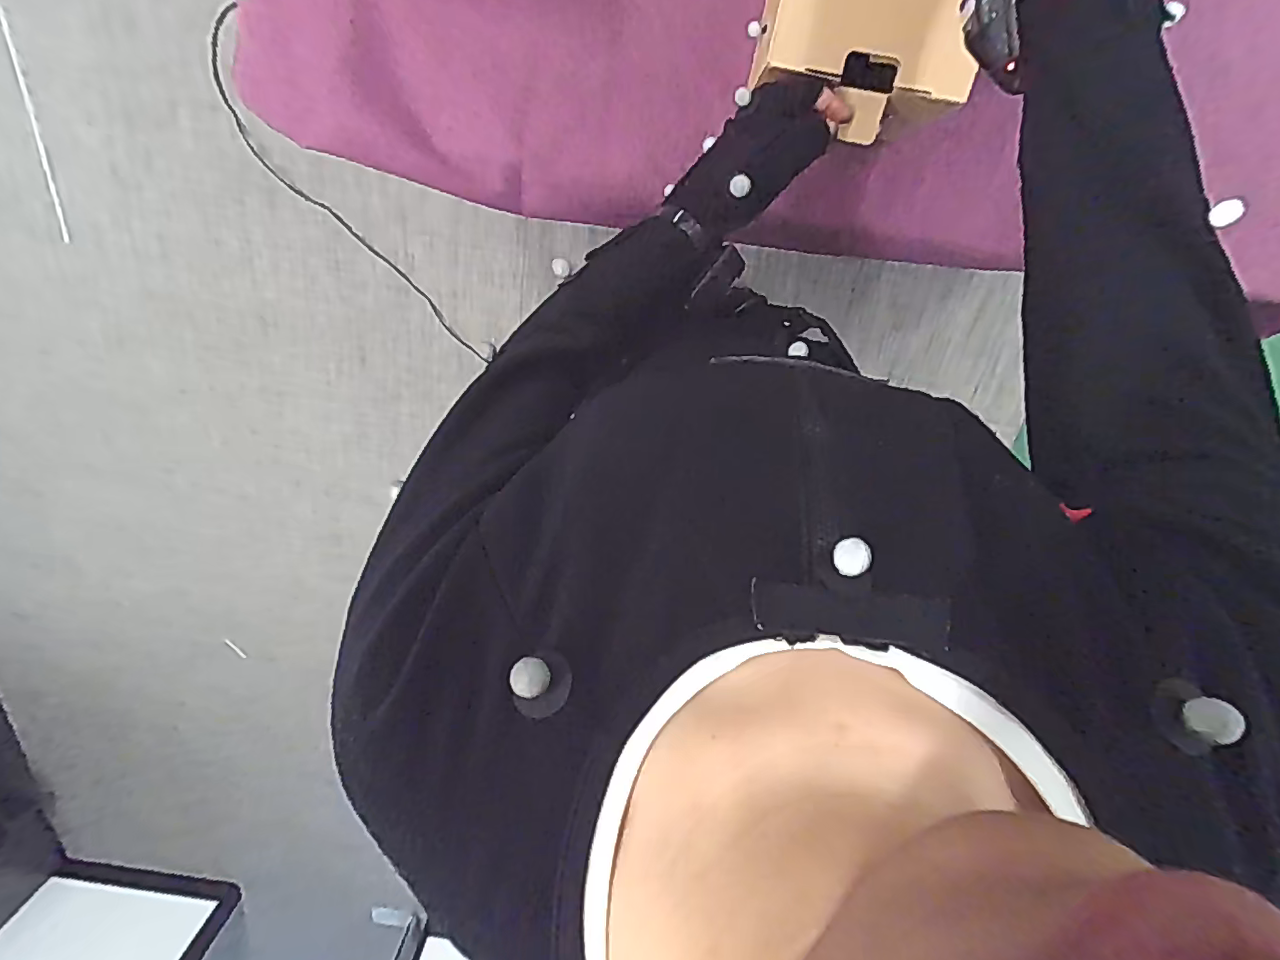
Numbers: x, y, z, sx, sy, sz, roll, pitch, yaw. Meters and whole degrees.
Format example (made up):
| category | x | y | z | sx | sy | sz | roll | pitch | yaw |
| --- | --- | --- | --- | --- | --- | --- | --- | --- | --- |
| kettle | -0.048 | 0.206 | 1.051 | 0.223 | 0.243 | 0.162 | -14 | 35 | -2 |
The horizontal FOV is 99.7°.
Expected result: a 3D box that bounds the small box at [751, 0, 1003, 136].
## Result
| category | x | y | z | sx | sy | sz | roll | pitch | yaw |
| --- | --- | --- | --- | --- | --- | --- | --- | --- | --- |
| small box | 0.199 | -0.420 | 0.466 | 0.168 | 0.176 | 0.179 | 10 | 113 | -1 |
